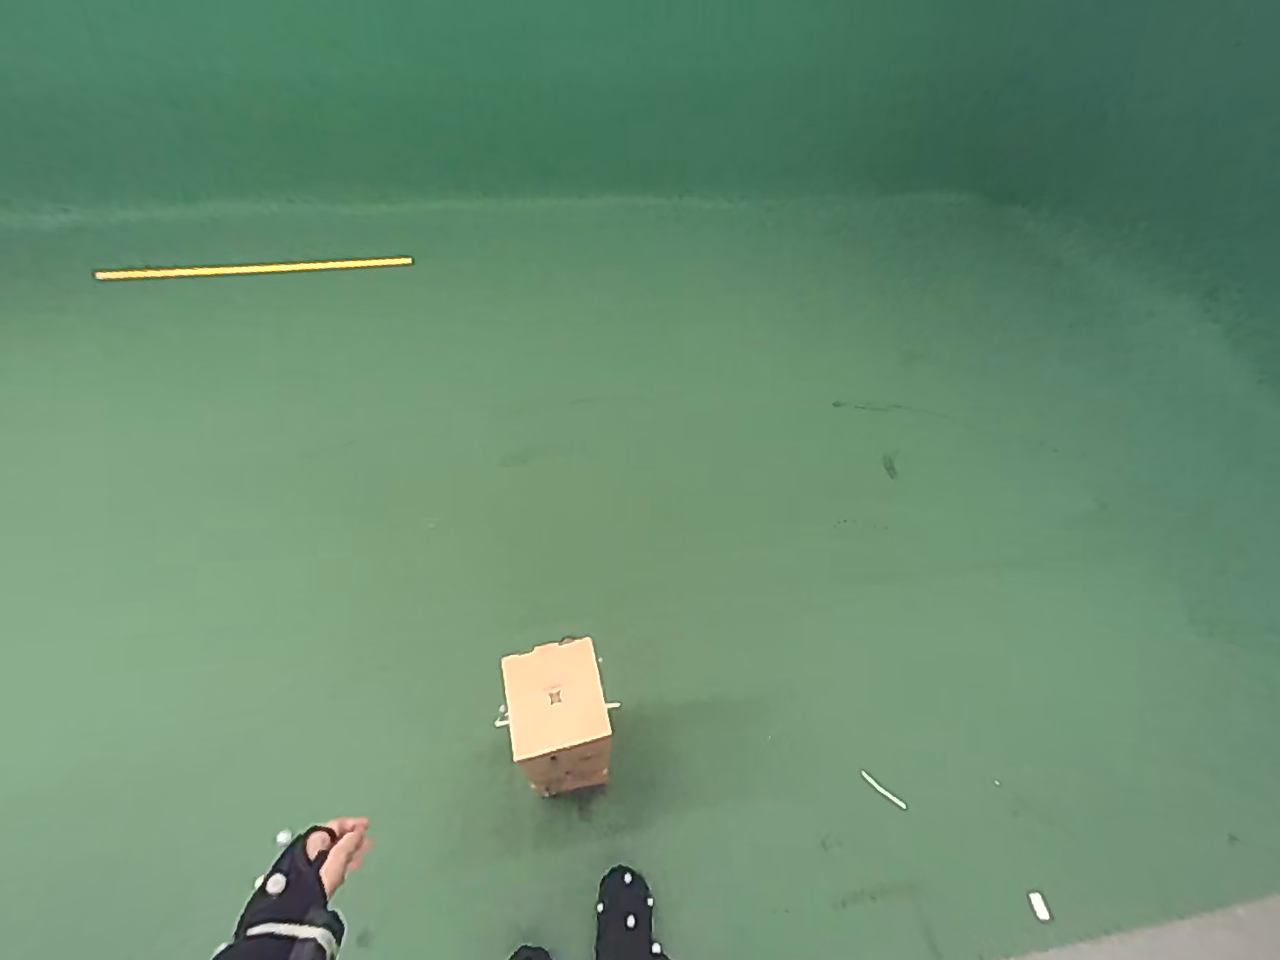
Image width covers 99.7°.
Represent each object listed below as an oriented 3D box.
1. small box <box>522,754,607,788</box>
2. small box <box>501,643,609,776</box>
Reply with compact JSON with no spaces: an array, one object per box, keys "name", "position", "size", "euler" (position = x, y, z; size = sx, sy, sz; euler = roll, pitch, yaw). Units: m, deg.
[{"name":"small box","position":[-0.165,0.523,1.132],"size":[0.168,0.176,0.179],"euler":[-9,55,-10]},{"name":"small box","position":[-0.153,0.430,1.000],"size":[0.168,0.176,0.179],"euler":[-10,55,-11]}]
